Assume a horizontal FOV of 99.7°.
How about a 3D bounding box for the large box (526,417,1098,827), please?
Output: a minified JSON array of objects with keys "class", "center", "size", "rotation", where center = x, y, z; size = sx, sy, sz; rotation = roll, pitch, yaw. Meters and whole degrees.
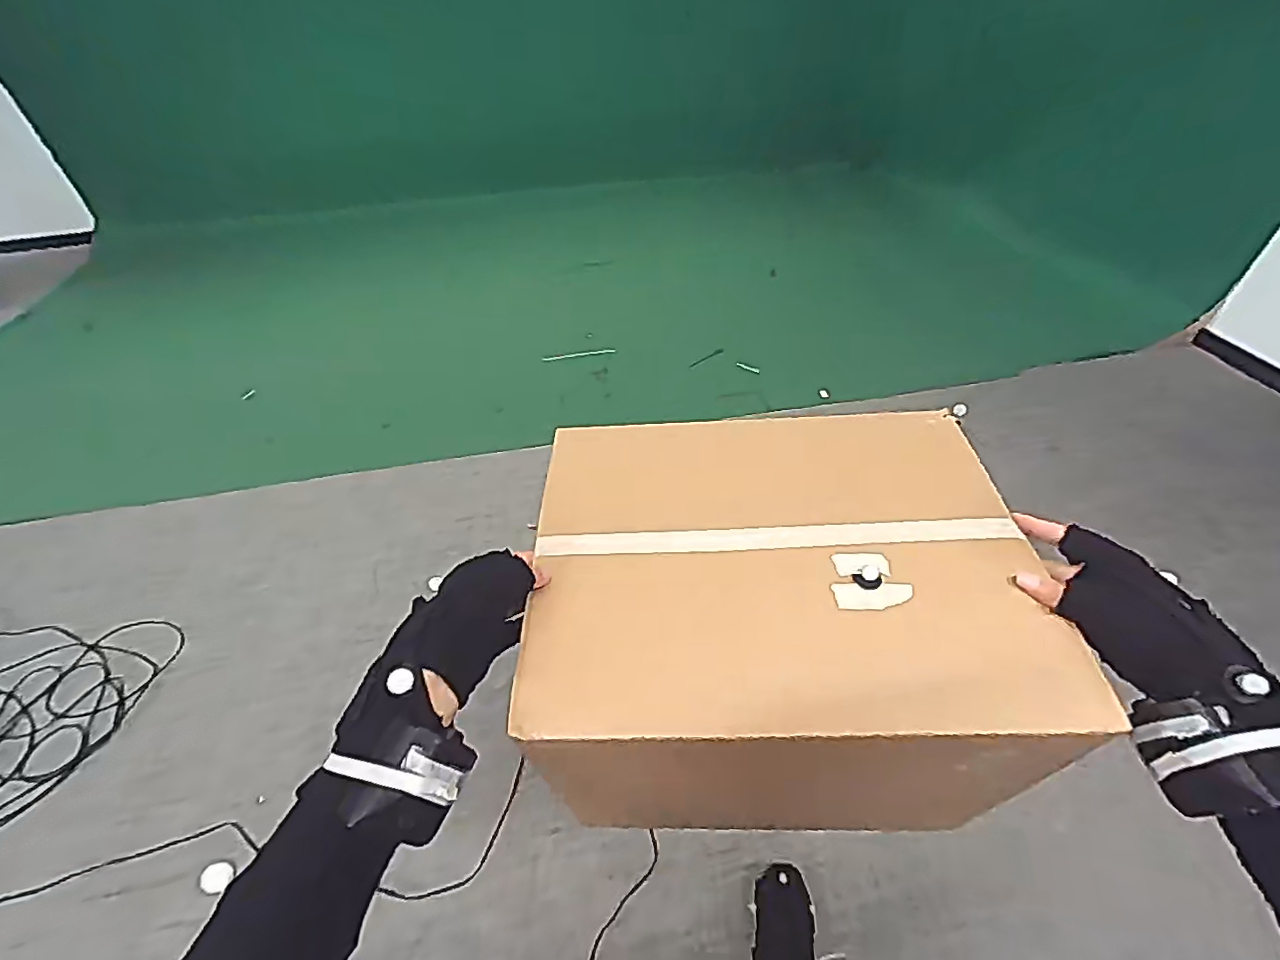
[{"class":"large box","center":[0.124,0.159,0.582],"size":[0.408,0.320,0.320],"rotation":[-3,48,4]}]
